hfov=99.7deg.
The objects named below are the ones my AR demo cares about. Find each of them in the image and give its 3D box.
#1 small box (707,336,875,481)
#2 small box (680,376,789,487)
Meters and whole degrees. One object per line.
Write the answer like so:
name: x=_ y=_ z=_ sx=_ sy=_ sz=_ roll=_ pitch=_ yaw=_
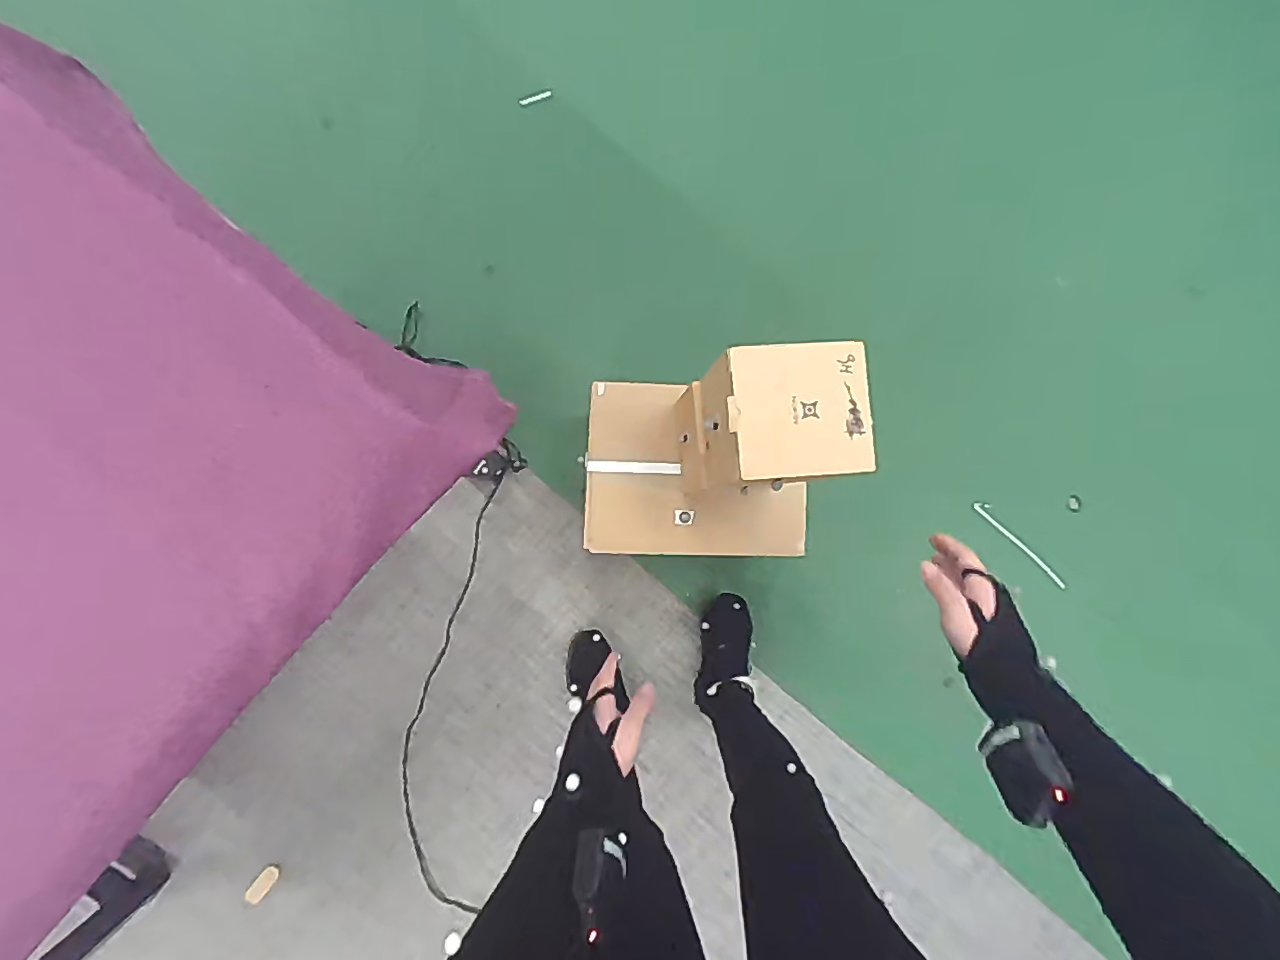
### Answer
small box: x=0.191 y=-0.088 z=0.739 sx=0.179 sy=0.176 sz=0.168 roll=-4 pitch=87 yaw=-5
small box: x=0.165 y=-0.078 z=0.901 sx=0.179 sy=0.176 sz=0.168 roll=-5 pitch=88 yaw=-6
